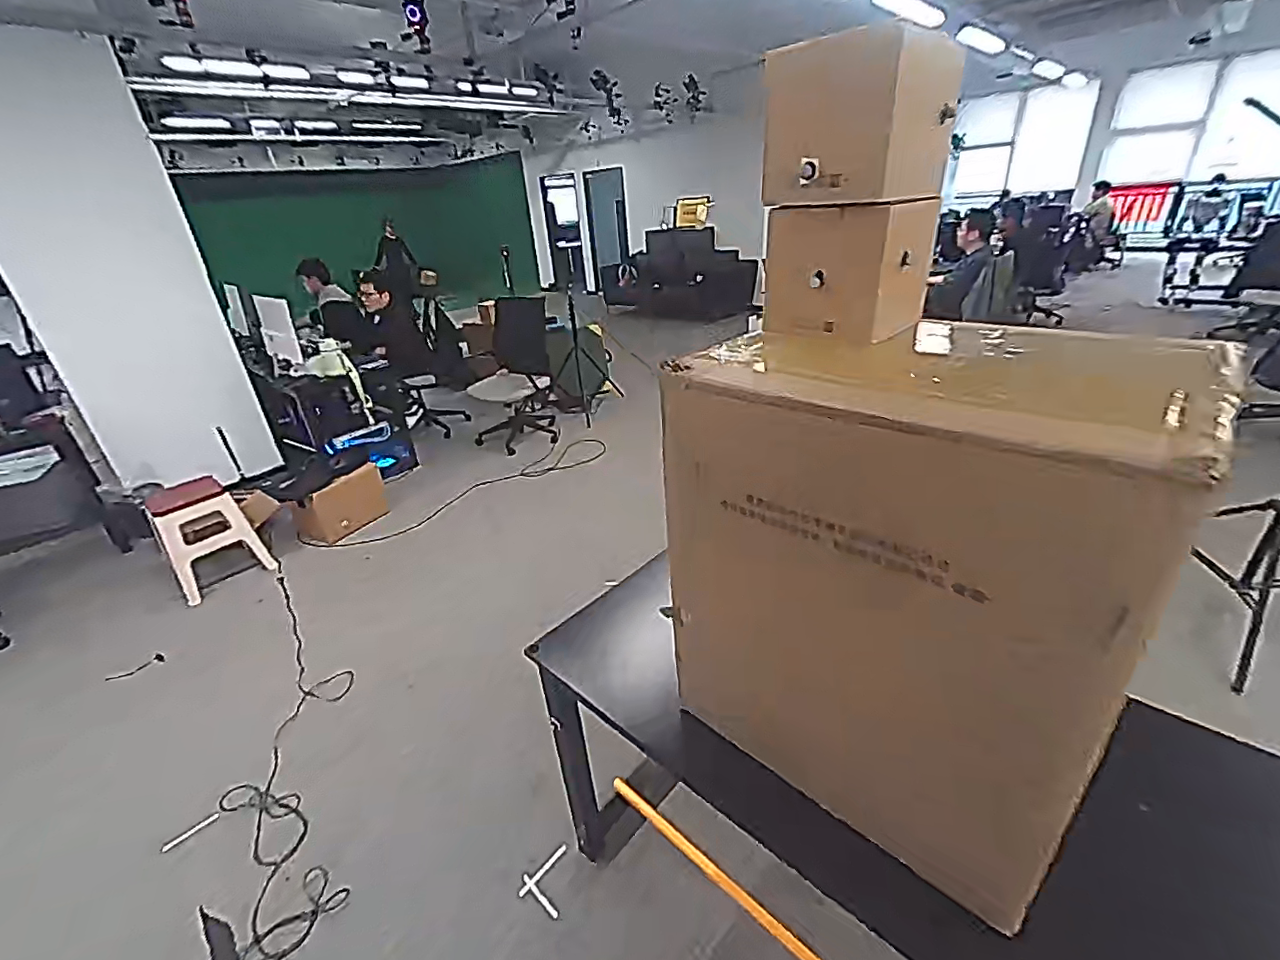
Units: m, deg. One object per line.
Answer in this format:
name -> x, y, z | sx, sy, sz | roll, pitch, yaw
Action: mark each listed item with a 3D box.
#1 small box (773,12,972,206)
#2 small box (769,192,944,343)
small box -> 0.275, -0.435, 0.666 | 0.179, 0.176, 0.168 | -27, 34, -37
small box -> 0.294, -0.296, 0.752 | 0.168, 0.176, 0.179 | 21, 37, 39
